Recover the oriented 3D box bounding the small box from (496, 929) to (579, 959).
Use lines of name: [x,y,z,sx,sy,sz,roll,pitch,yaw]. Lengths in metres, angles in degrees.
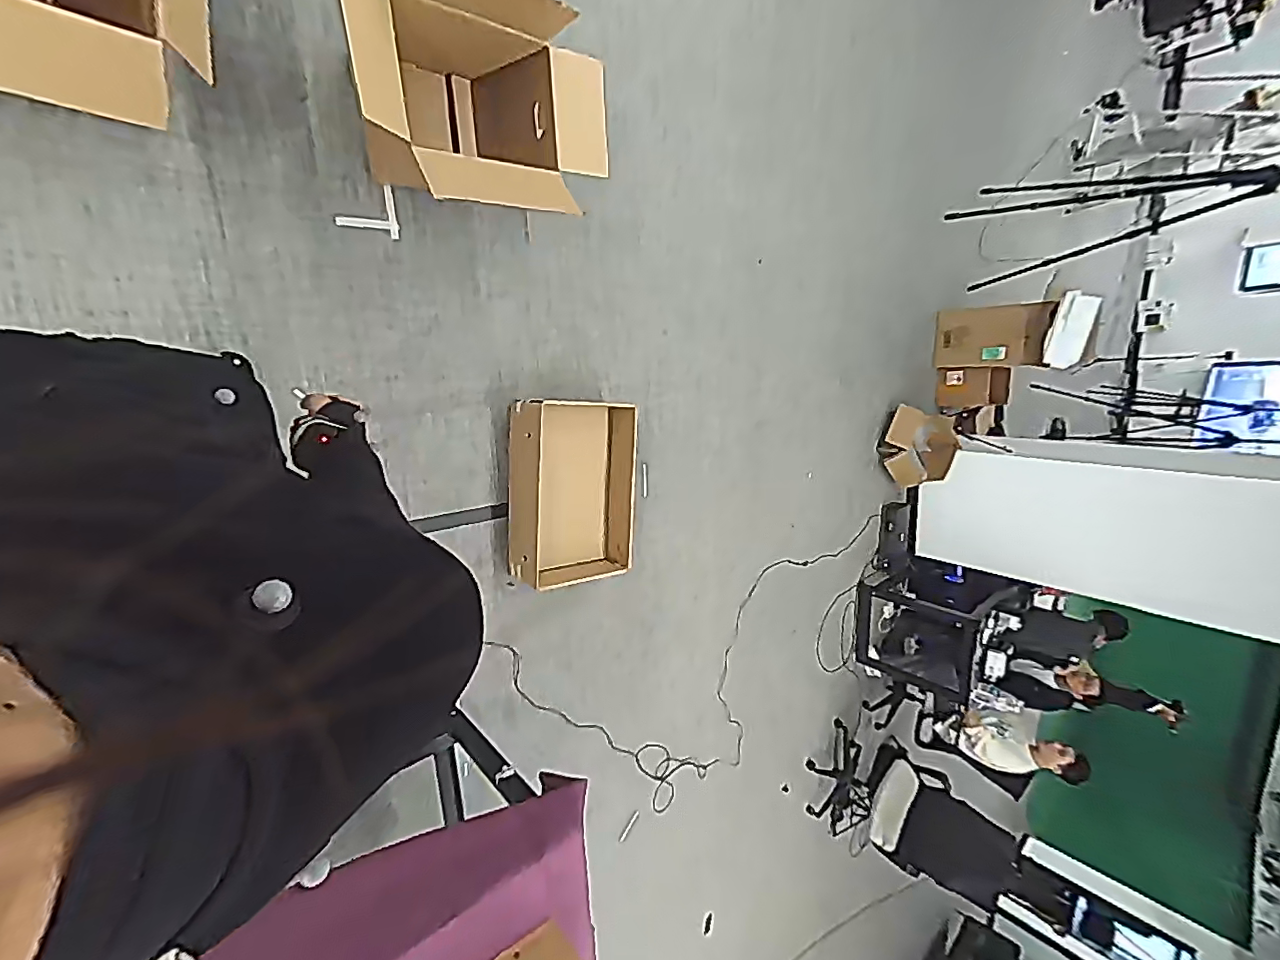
small box: [-0.215,1.111,1.145,0.168,0.176,0.179,-7,103,-40]
